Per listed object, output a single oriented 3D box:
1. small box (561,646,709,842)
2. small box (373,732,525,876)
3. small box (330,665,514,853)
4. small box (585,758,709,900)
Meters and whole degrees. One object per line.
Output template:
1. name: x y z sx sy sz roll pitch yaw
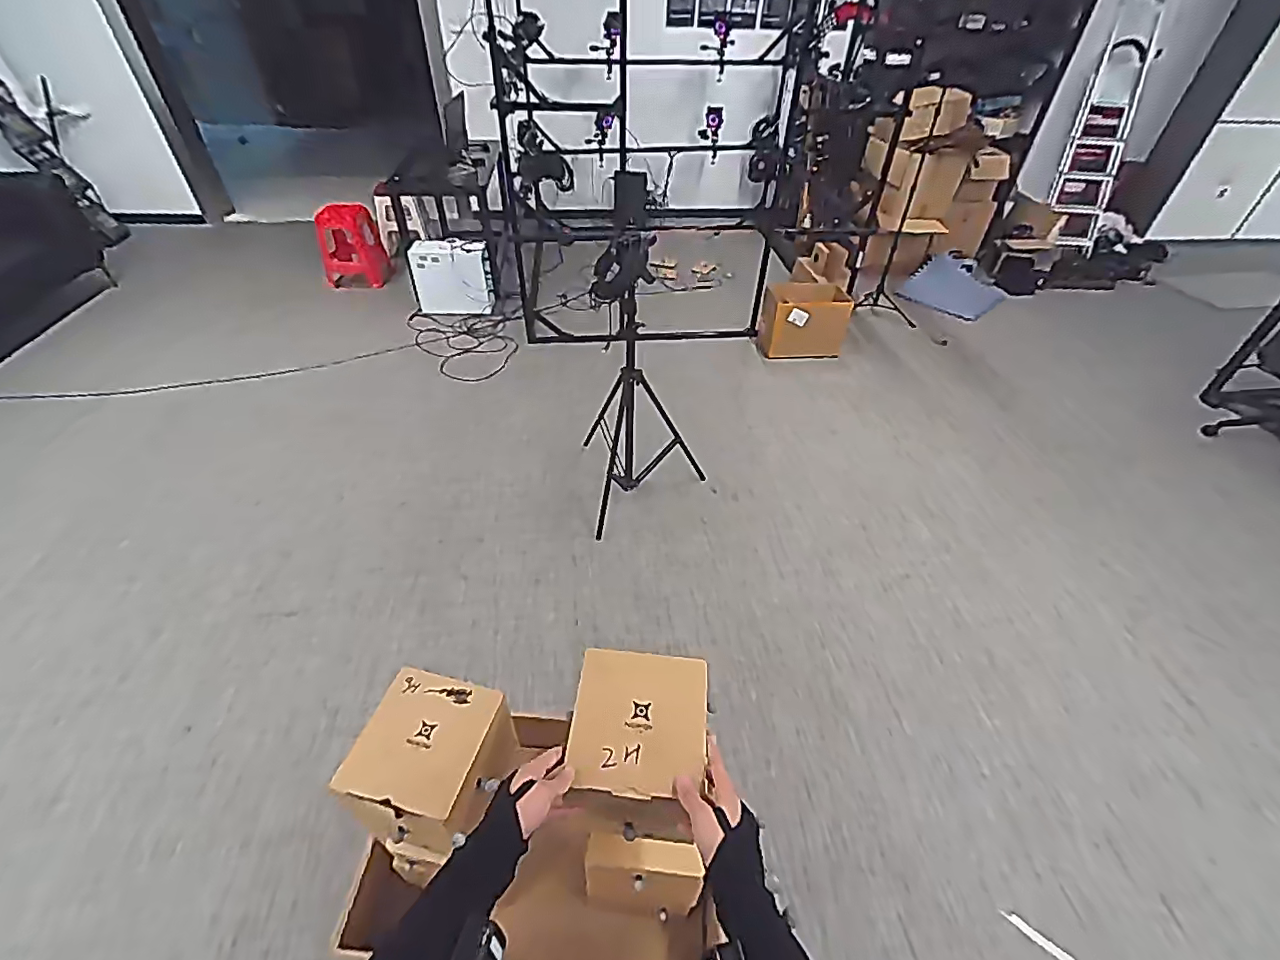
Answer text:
1. small box: -0.001 0.348 0.717 0.168 0.176 0.179 4 43 5
2. small box: -0.300 0.524 0.897 0.168 0.176 0.179 8 41 7
3. small box: -0.295 0.405 0.783 0.168 0.176 0.179 11 43 10
4. small box: 0.015 0.555 0.875 0.179 0.176 0.168 4 41 4
